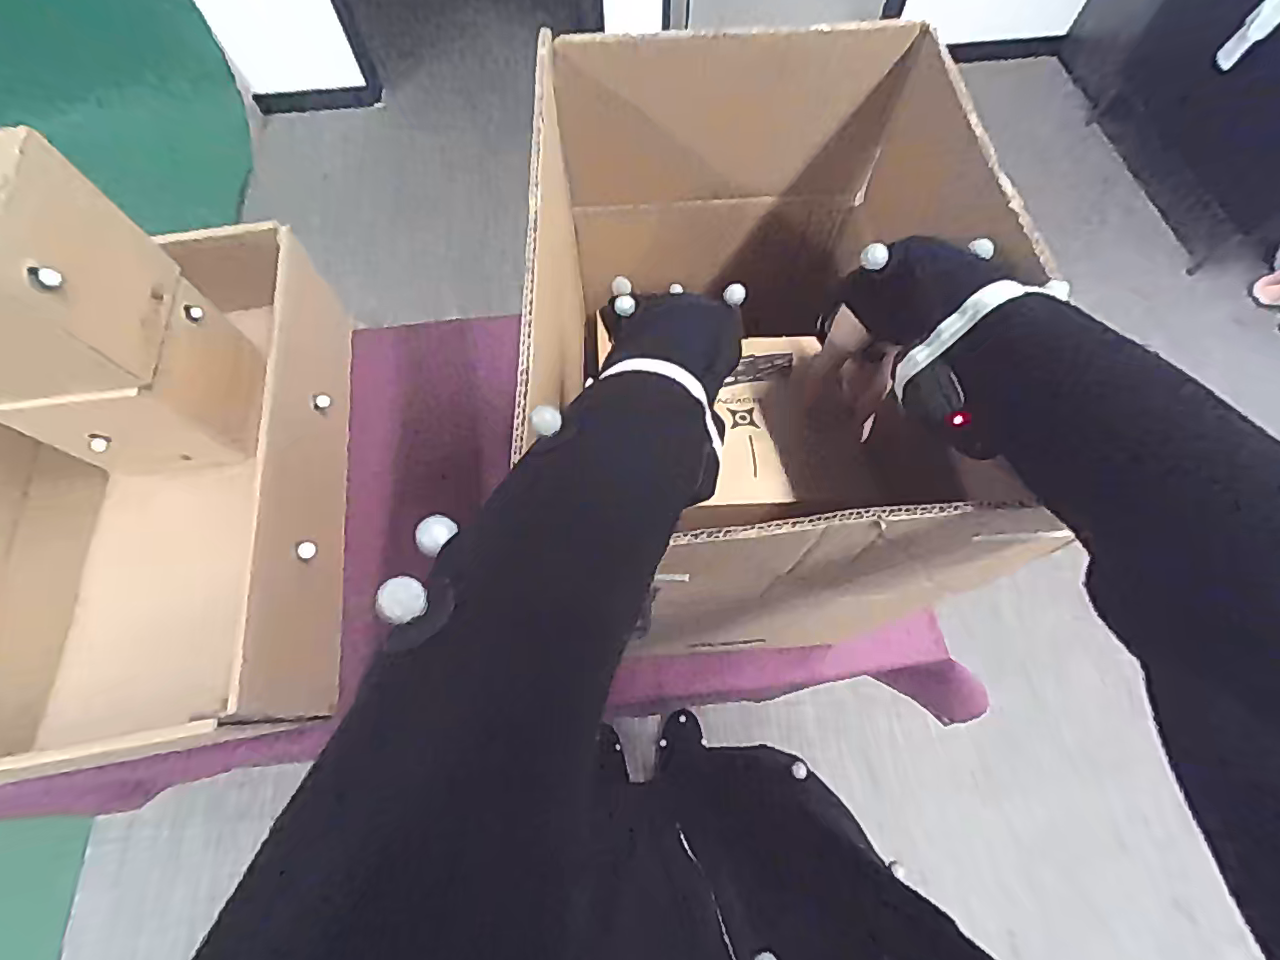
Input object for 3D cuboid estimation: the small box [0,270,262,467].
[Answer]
[{"bbox_3d":[-0.610,-0.126,0.670,0.168,0.176,0.179,-7,67,-2],"label":"small box"}]
